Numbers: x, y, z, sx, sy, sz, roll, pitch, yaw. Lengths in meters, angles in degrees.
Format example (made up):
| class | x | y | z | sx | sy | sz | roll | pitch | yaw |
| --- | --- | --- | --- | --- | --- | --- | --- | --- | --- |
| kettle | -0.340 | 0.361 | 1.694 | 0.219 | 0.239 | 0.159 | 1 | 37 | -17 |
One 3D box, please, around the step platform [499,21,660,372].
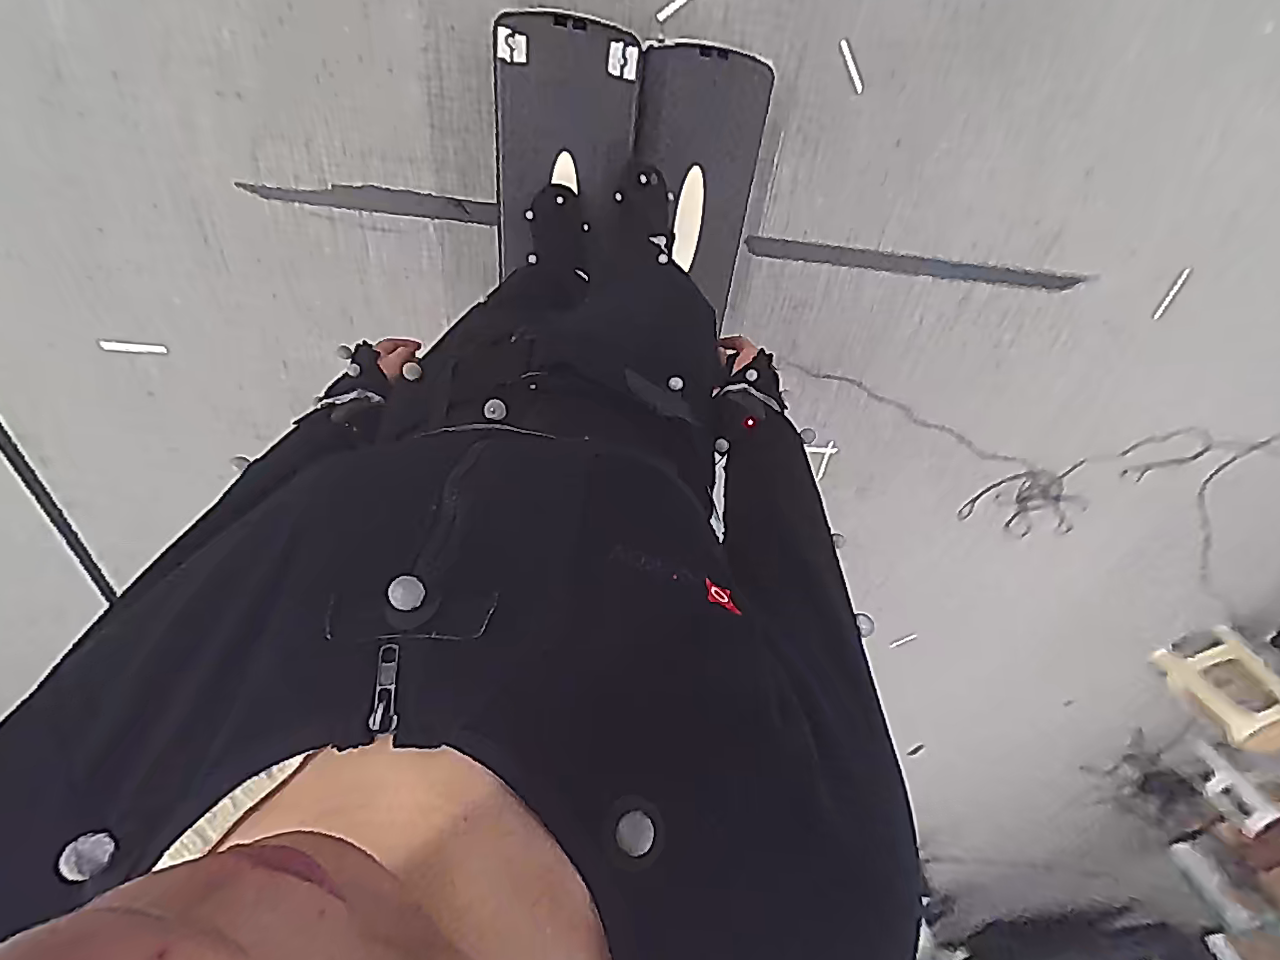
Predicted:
| class | x | y | z | sx | sy | sz | roll | pitch | yaw |
| --- | --- | --- | --- | --- | --- | --- | --- | --- | --- |
| step platform | -0.158 | -0.588 | 1.223 | 0.286 | 0.204 | 0.684 | 6 | 123 | -11 |
